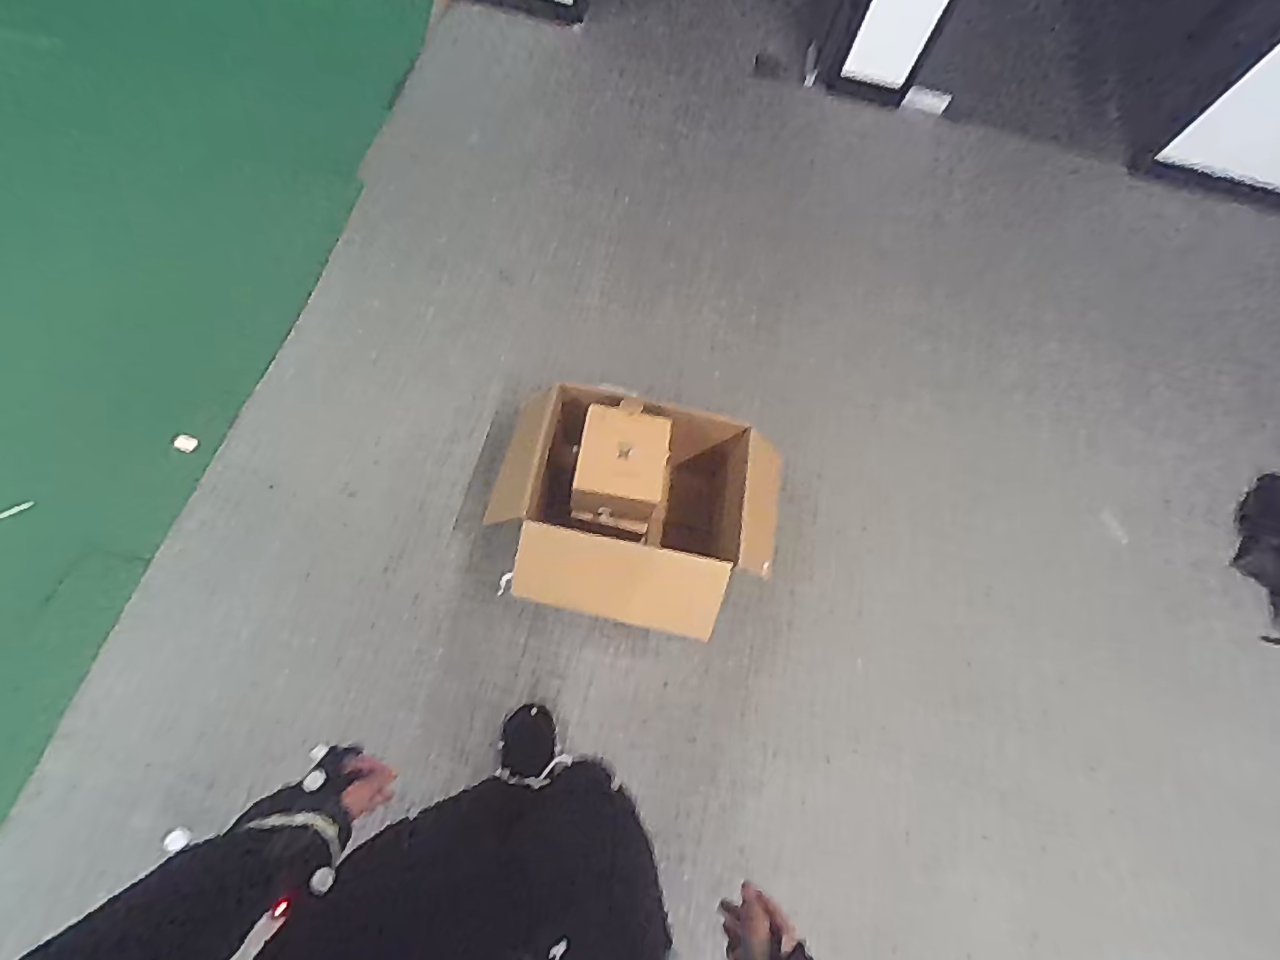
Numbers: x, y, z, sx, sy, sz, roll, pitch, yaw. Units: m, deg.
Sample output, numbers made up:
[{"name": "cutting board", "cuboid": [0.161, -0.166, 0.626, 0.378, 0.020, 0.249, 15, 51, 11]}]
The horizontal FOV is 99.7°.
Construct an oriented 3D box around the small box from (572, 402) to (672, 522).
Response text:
[{"name": "small box", "cuboid": [-0.042, -0.030, 1.087, 0.168, 0.176, 0.179, 11, 70, -4]}]
